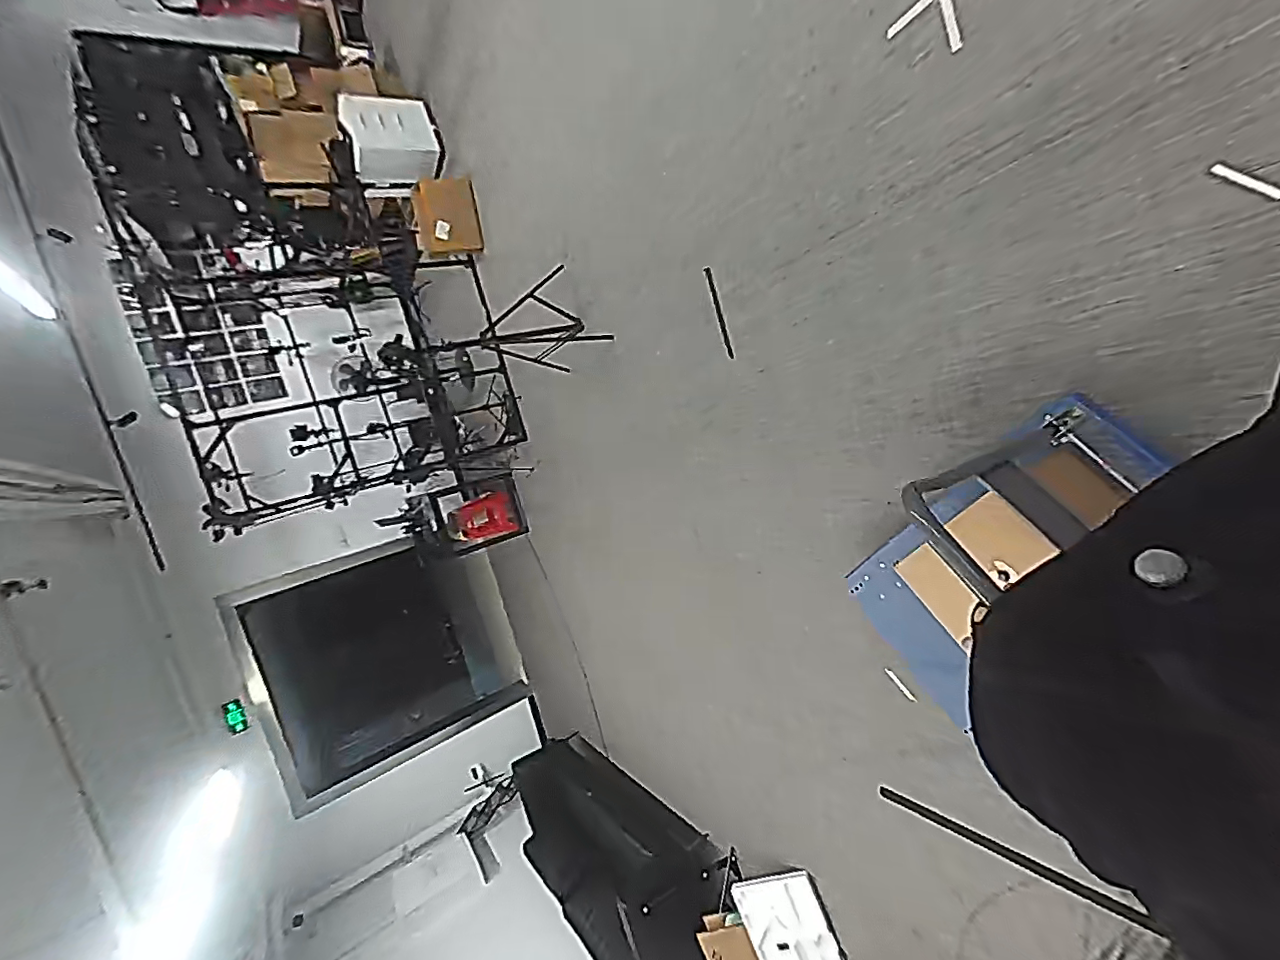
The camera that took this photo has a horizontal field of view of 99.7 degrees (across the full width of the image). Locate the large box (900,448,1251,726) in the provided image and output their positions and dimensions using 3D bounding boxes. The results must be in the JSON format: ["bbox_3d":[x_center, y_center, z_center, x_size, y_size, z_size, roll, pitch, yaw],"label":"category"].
[{"bbox_3d":[0.850,0.206,1.100,0.408,0.320,0.320,56,146,25],"label":"large box"}]
